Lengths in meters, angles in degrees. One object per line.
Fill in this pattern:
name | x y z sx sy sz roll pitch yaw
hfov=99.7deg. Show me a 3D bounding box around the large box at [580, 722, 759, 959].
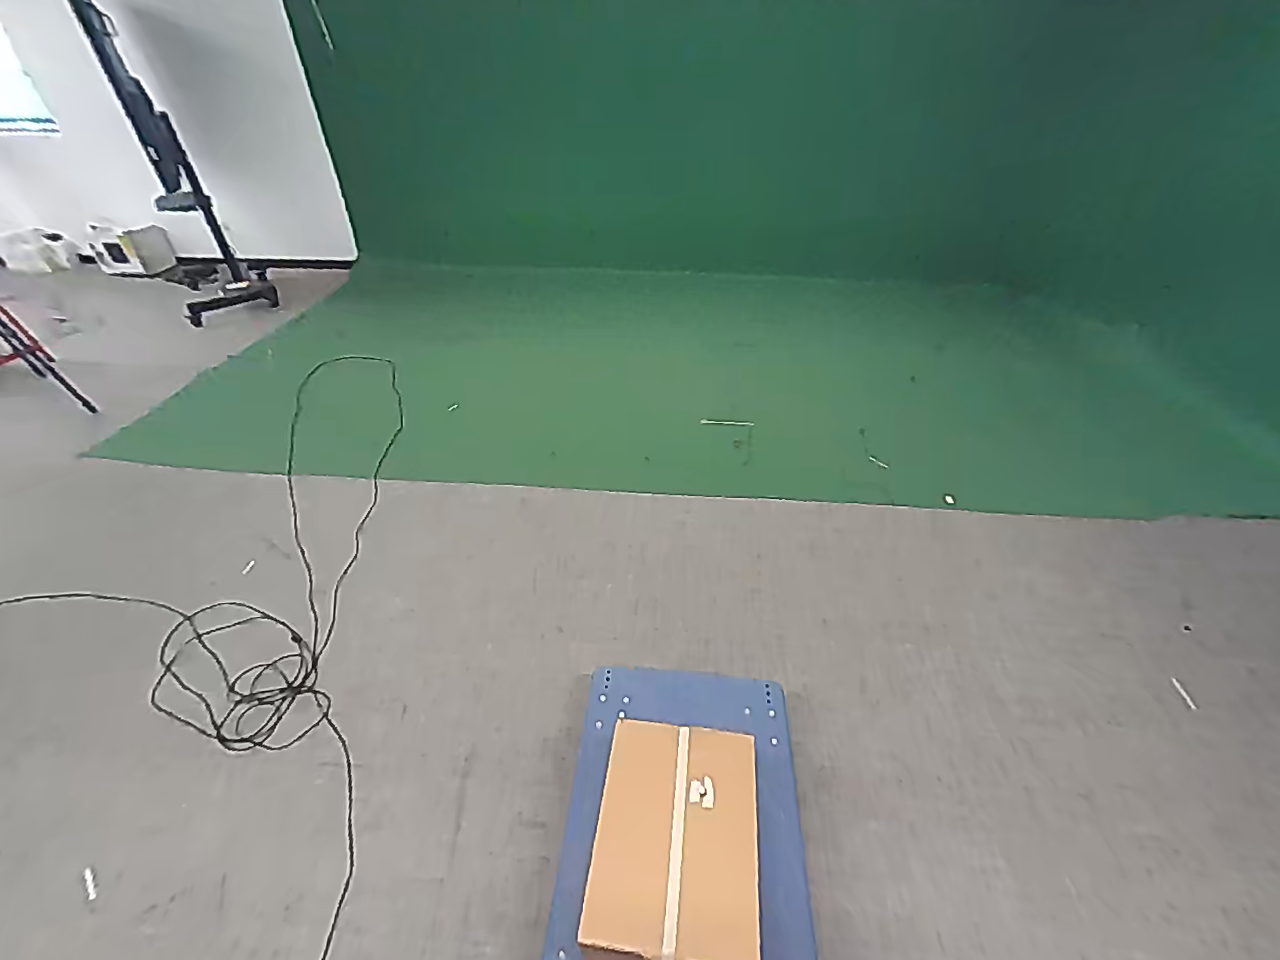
large box | 0.071 0.804 1.156 0.320 0.320 0.408 5 38 6
